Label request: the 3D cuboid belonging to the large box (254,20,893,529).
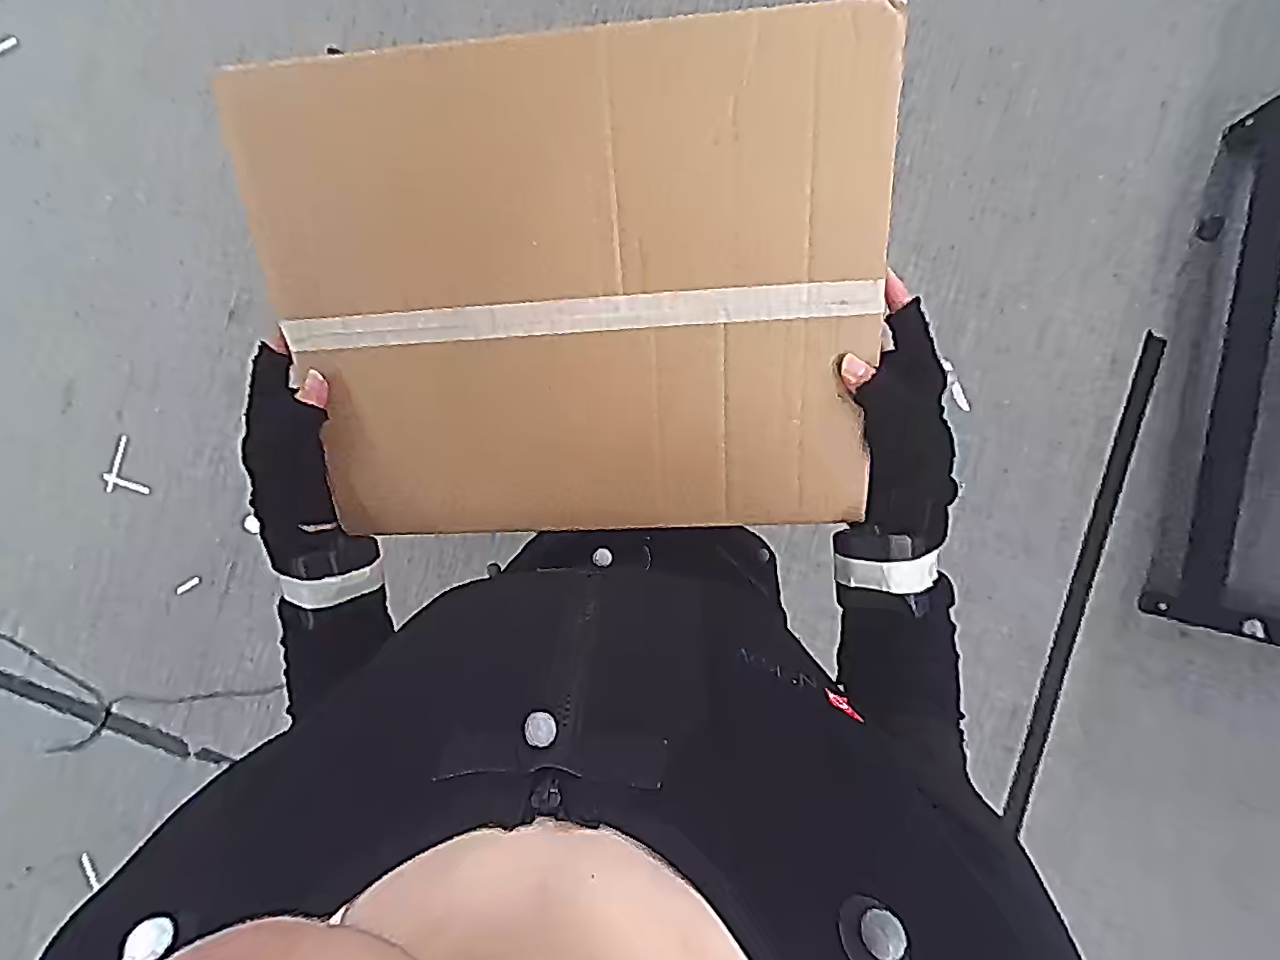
[{"bbox_3d":[-0.033,-0.163,0.516,0.408,0.320,0.320,-2,112,5],"label":"large box"}]
